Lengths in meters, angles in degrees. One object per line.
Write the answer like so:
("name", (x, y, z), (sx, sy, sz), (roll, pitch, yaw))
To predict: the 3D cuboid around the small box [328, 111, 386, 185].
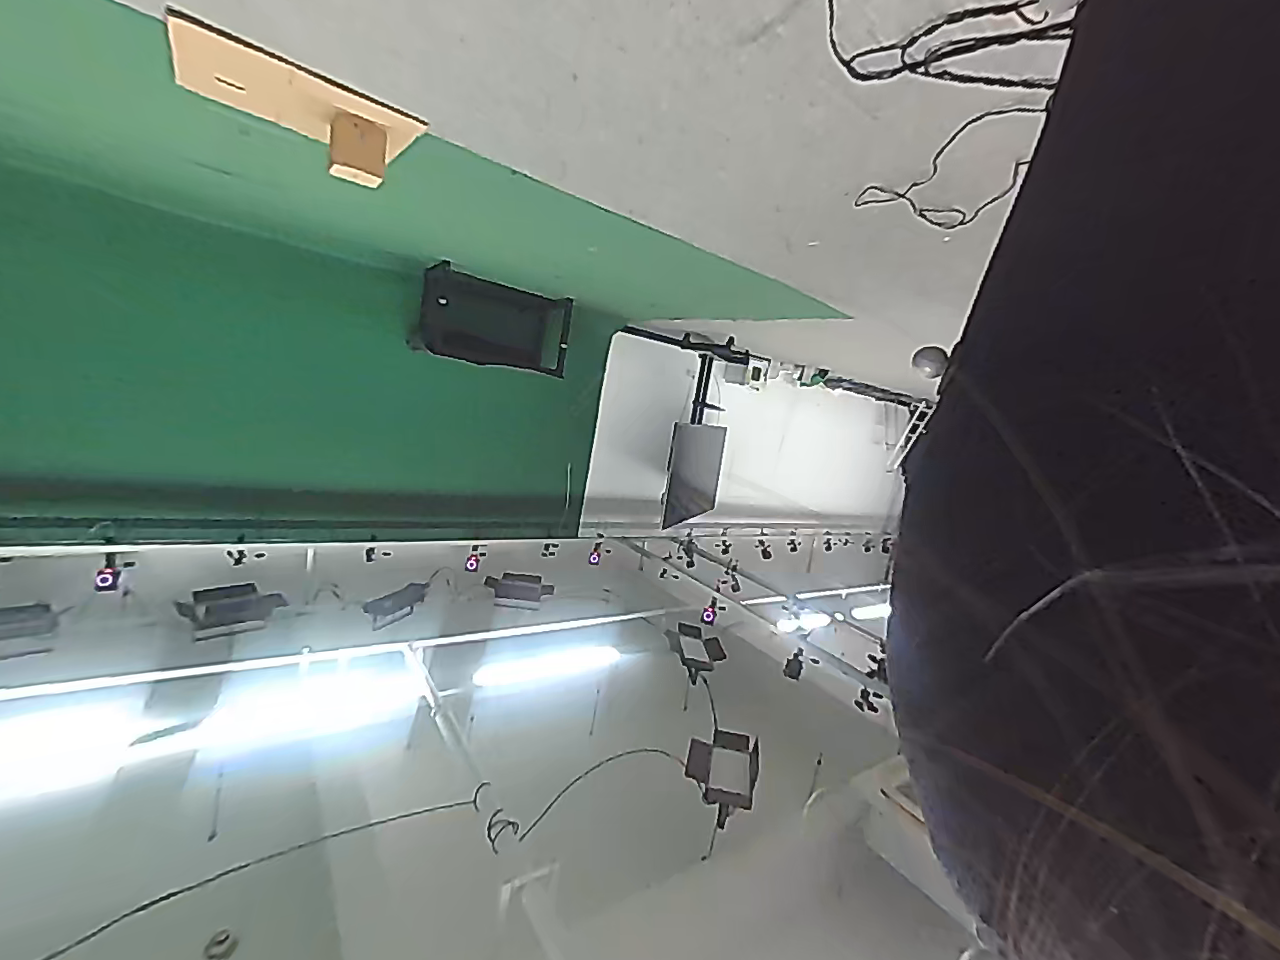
("small box", (-1.055, -1.235, 2.017), (0.168, 0.176, 0.179), (1, -168, -37))
